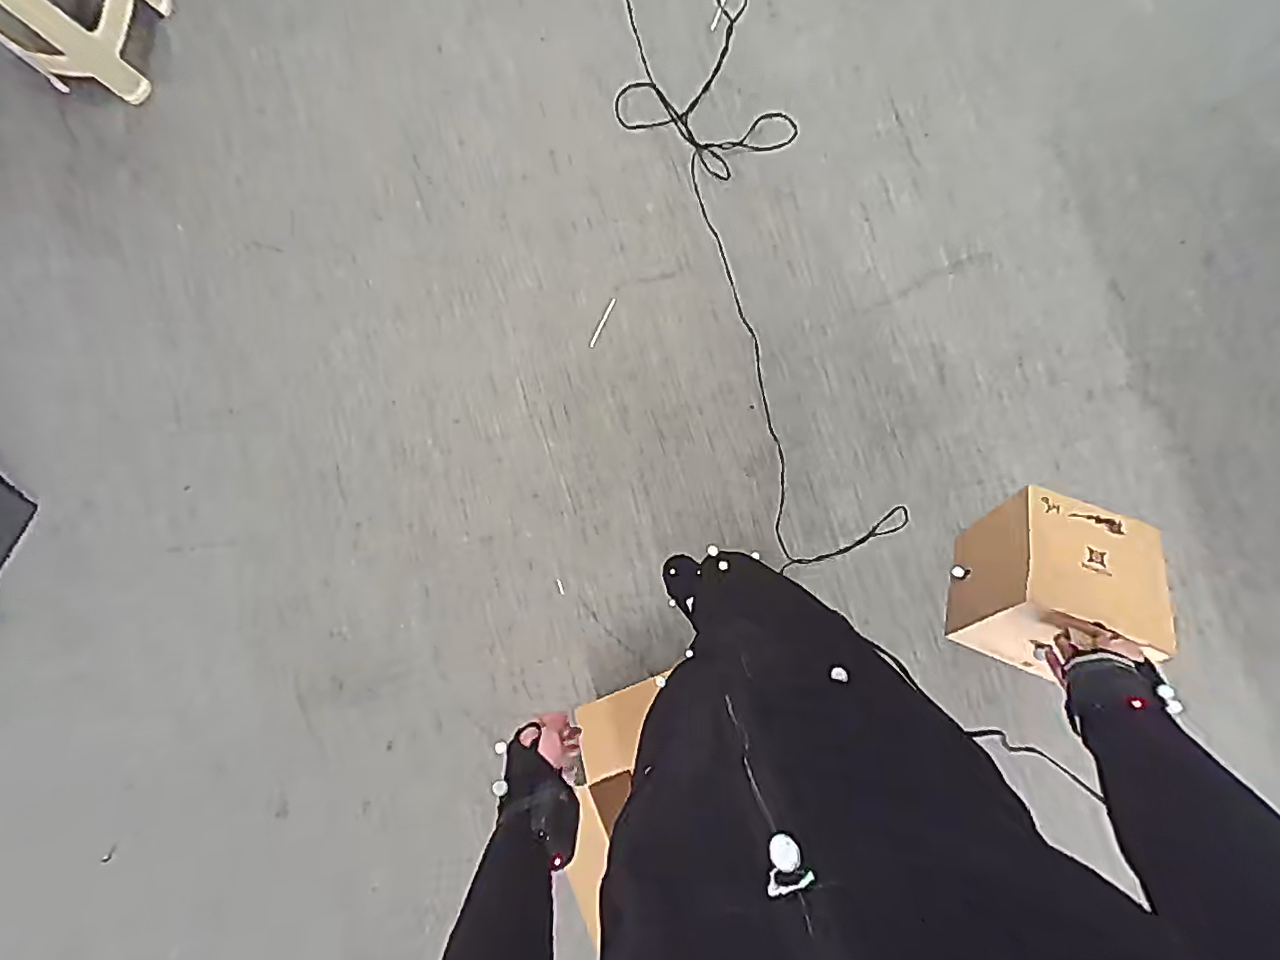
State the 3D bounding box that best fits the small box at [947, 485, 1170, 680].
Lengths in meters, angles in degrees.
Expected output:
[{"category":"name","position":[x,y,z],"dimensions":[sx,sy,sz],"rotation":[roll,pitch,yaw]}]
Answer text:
[{"category":"small box","position":[0.536,0.143,0.717],"dimensions":[0.168,0.176,0.179],"rotation":[21,60,8]}]
